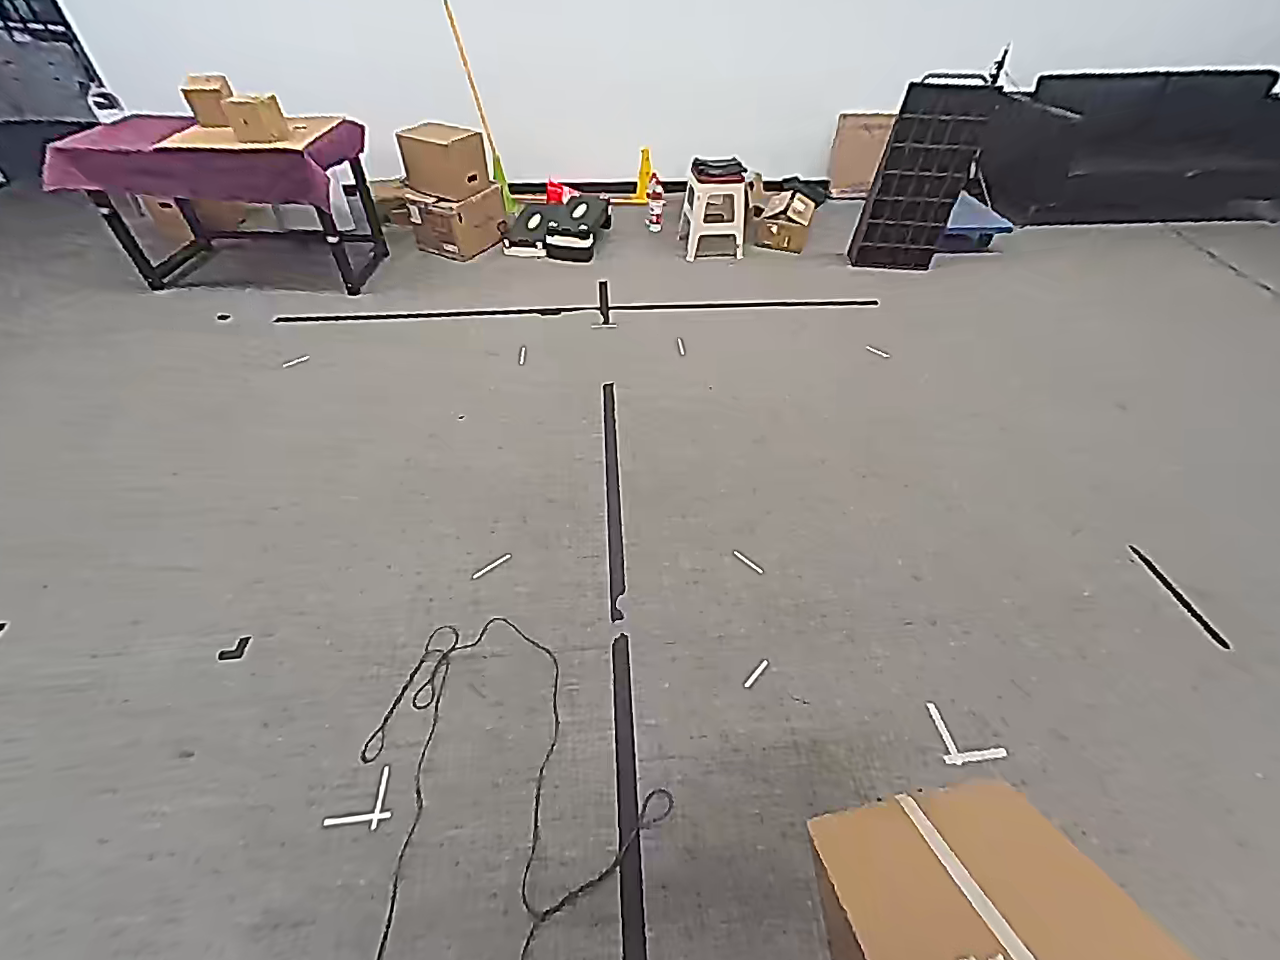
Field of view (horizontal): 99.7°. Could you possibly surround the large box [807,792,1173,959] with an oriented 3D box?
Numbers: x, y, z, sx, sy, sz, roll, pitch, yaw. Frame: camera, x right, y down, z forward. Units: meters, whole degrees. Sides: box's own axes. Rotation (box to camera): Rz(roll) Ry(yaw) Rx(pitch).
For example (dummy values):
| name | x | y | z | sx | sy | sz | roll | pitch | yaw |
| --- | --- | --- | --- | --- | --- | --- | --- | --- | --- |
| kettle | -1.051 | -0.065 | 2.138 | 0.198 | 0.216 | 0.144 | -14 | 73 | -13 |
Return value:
| name | x | y | z | sx | sy | sz | roll | pitch | yaw |
| --- | --- | --- | --- | --- | --- | --- | --- | --- | --- |
| large box | 0.439 | 0.674 | 0.652 | 0.320 | 0.320 | 0.408 | -12 | 7 | -1 |
